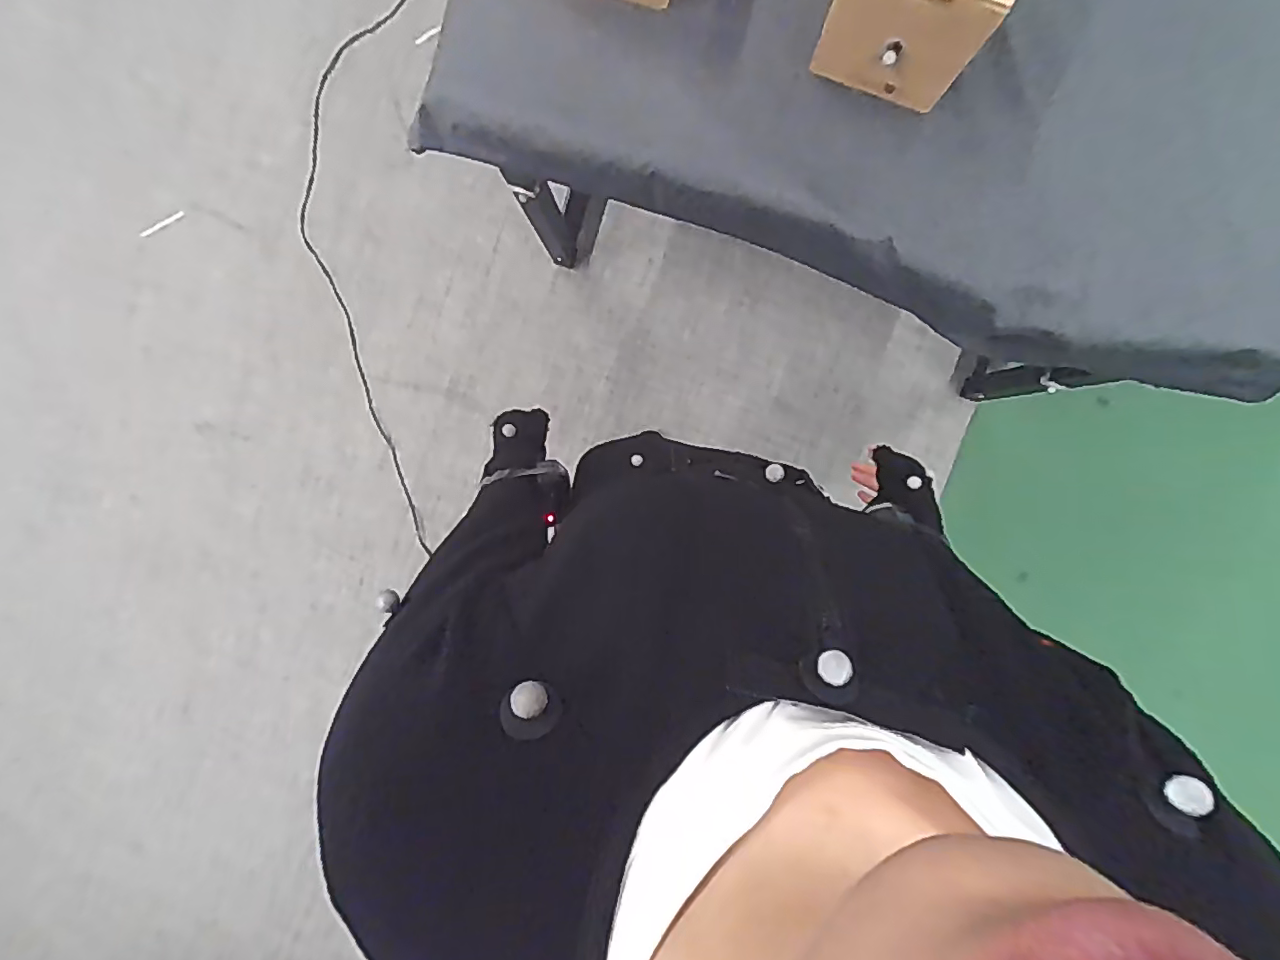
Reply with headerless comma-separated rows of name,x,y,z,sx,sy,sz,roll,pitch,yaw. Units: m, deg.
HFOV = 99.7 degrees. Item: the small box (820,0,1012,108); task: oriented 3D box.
small box,0.323,-0.574,0.613,0.168,0.176,0.179,20,95,1
